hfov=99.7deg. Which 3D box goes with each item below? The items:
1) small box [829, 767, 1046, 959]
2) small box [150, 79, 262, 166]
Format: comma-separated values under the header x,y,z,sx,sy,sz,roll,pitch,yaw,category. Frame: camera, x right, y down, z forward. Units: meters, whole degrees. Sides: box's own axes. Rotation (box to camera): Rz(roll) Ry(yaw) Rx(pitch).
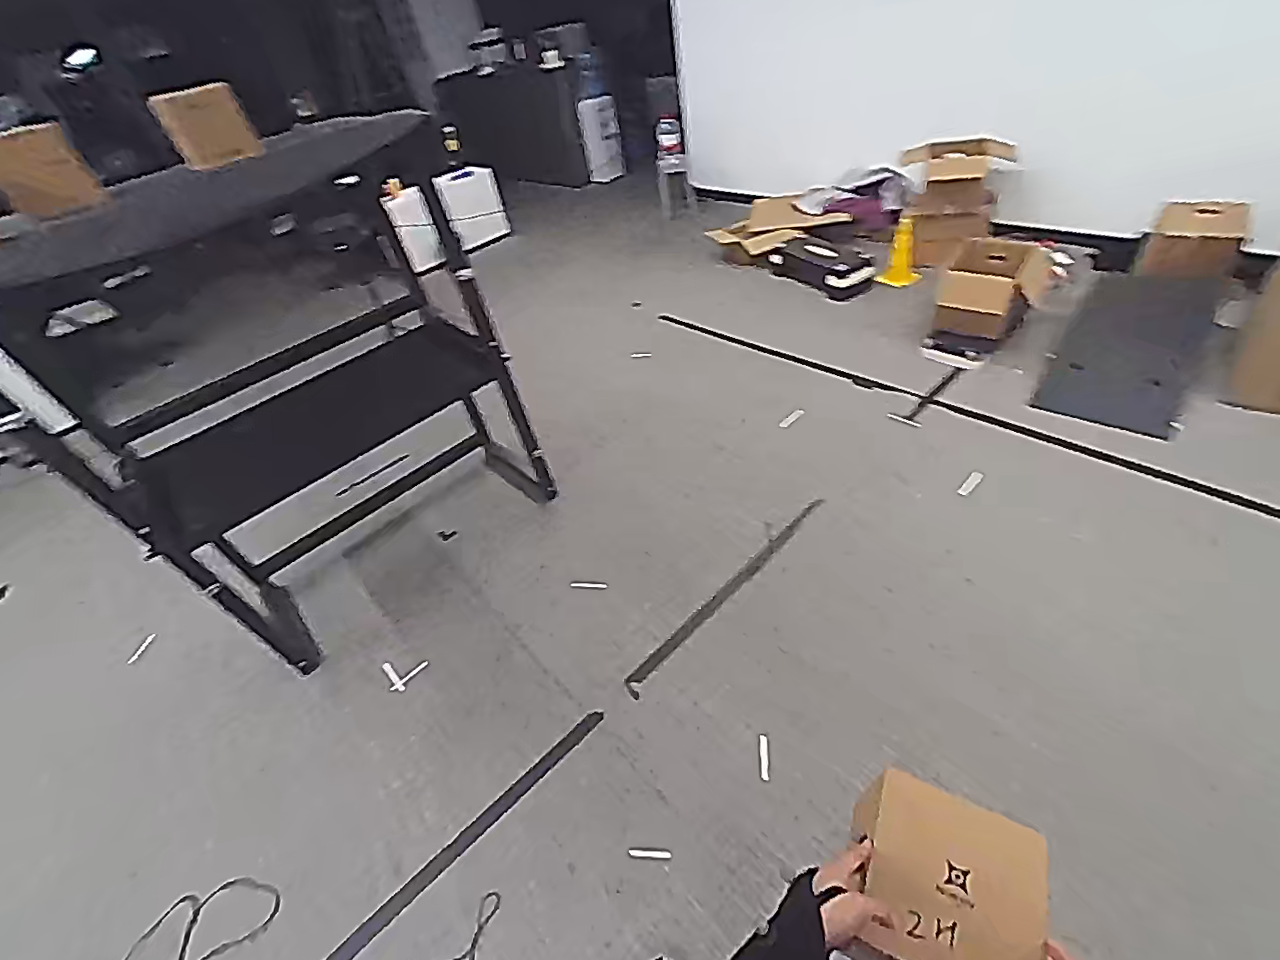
x,y,z,sx,sy,sz,roll,pitch,yaw,category
0.323,0.466,0.608,0.168,0.176,0.179,17,52,20,small box
-1.189,-0.978,1.486,0.168,0.176,0.179,-38,48,-25,small box
